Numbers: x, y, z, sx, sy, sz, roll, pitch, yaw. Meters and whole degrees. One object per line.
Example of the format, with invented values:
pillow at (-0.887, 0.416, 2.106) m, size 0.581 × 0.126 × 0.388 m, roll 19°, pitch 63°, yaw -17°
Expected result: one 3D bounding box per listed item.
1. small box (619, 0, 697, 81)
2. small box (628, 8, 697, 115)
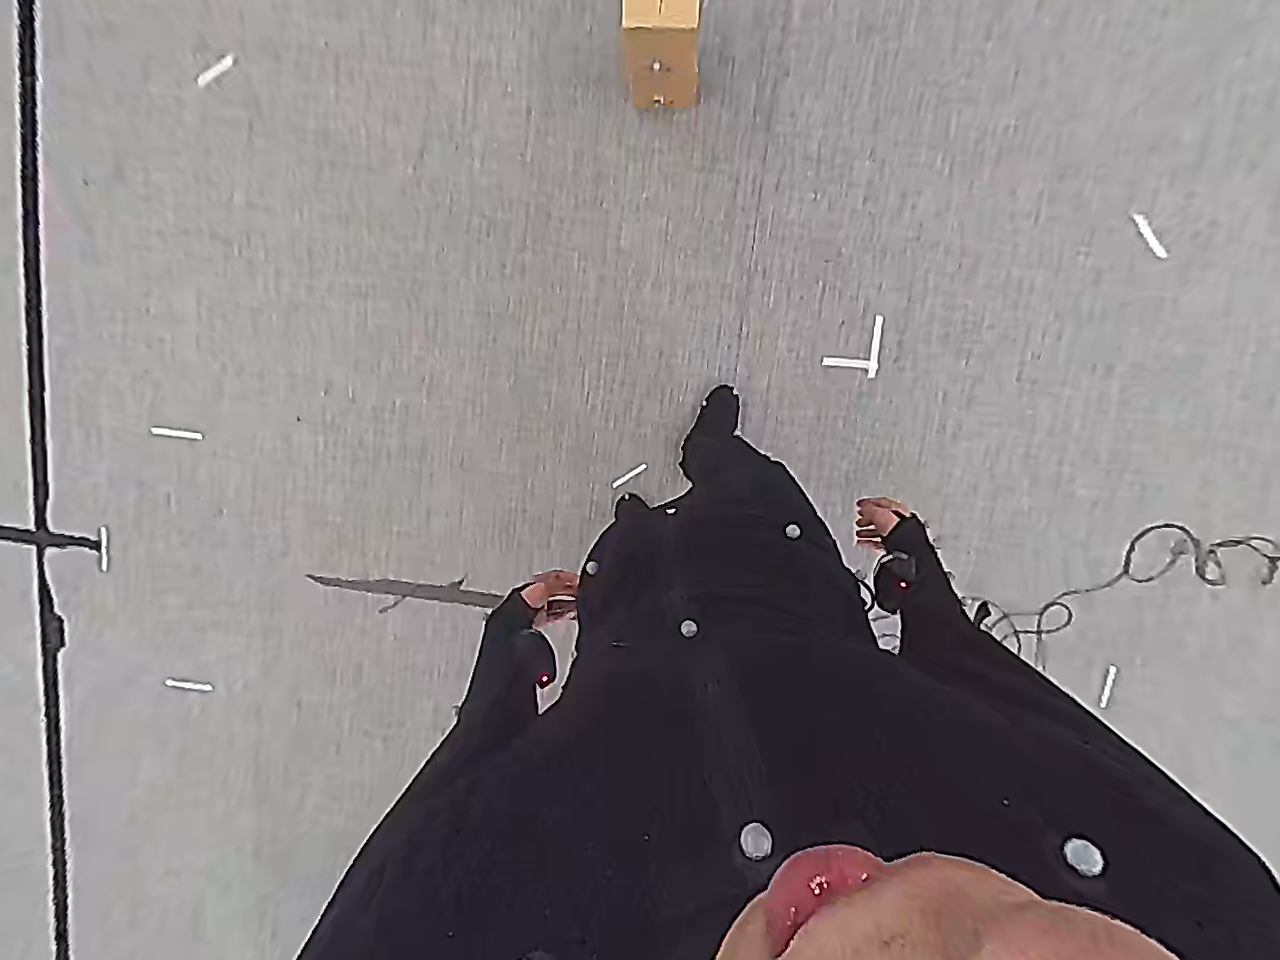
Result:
small box at (0.042, -1.053, 1.227) m, size 0.168 × 0.176 × 0.179 m, roll 3°, pitch 98°, yaw 2°
small box at (0.054, -1.079, 1.388) m, size 0.168 × 0.176 × 0.179 m, roll 1°, pitch 98°, yaw 1°
